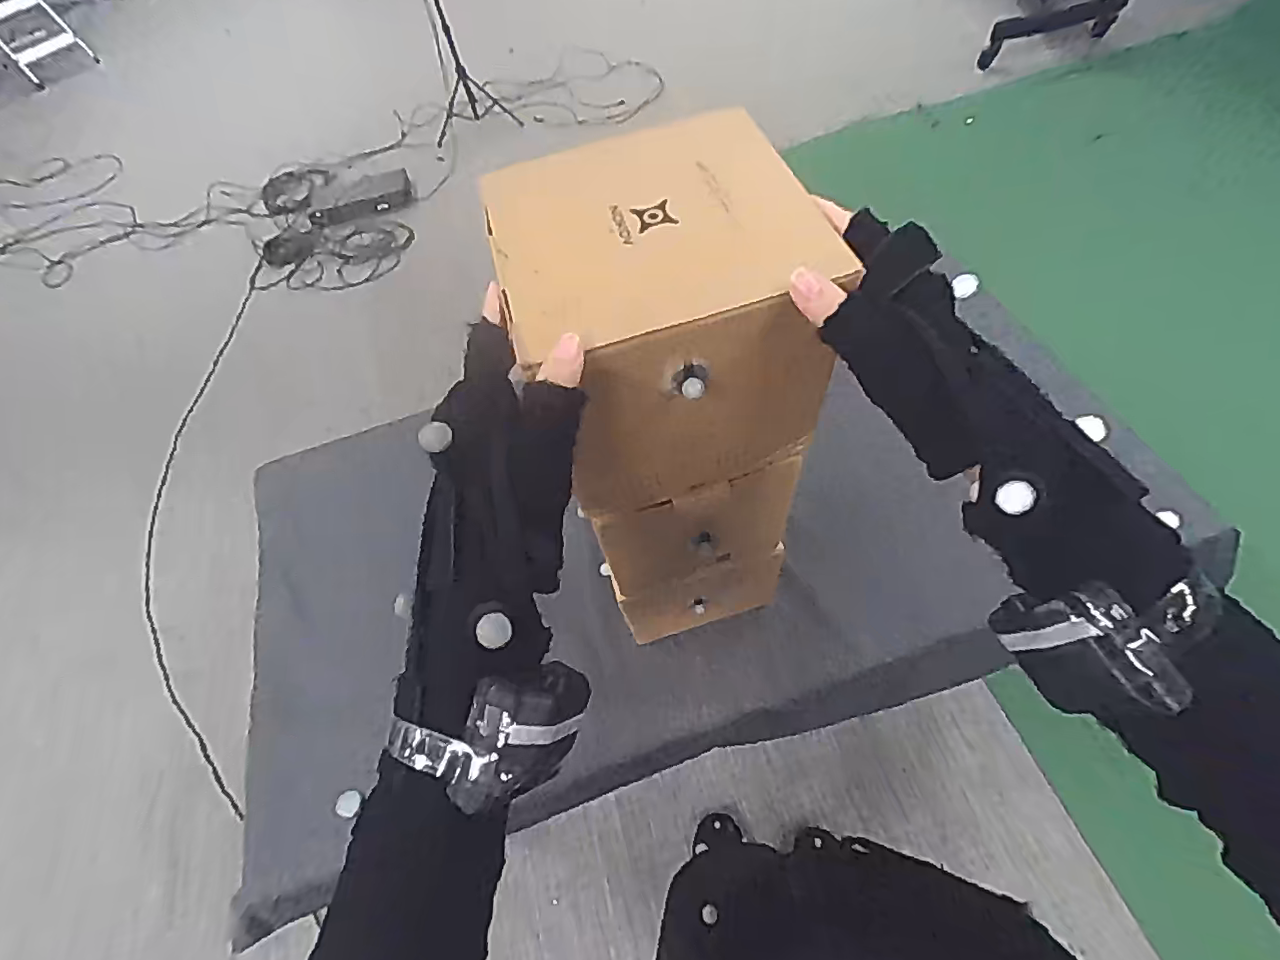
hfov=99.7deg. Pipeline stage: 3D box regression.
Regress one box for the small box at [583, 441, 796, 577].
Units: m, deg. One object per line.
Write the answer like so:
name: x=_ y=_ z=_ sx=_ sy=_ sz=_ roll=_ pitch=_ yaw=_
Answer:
small box: x=0.027 y=-0.023 z=0.508 sx=0.168 sy=0.176 sz=0.179 roll=-18 pitch=60 yaw=-3

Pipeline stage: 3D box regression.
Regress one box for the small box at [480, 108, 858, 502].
small box: x=0.012 y=-0.106 z=0.368 sx=0.179 sy=0.176 sz=0.168 roll=-17 pitch=61 yaw=-4

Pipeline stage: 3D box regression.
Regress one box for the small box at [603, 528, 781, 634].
small box: x=0.047 y=0.065 z=0.644 sx=0.179 sy=0.176 sz=0.168 roll=-17 pitch=59 yaw=-2
